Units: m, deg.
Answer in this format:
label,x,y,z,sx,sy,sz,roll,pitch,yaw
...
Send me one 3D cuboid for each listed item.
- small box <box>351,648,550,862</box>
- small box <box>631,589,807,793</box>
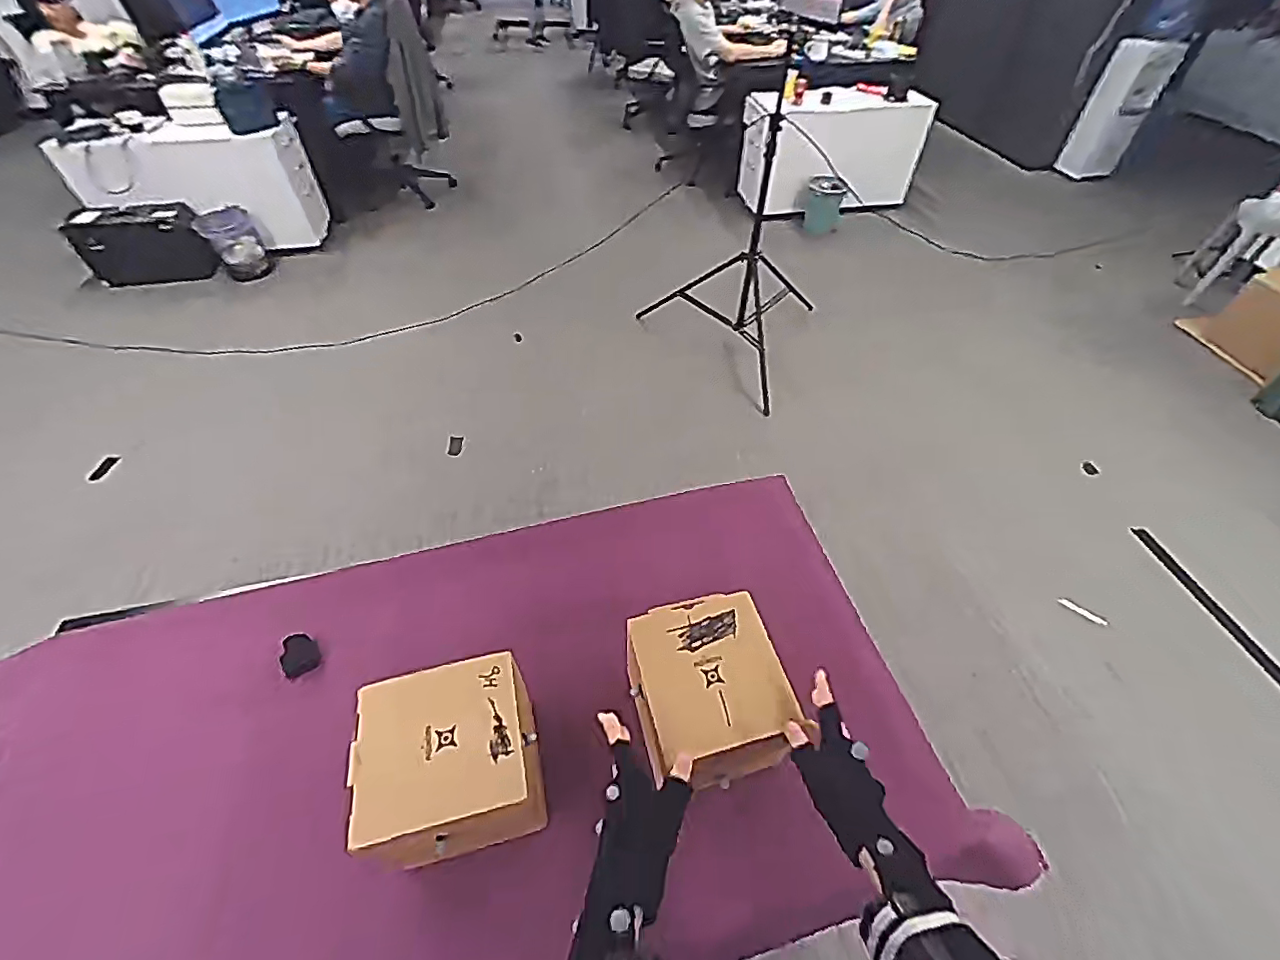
label,x,y,z,sx,sy,sz,roll,pitch,yaw
small box,-0.215,0.330,0.646,0.179,0.176,0.168,-12,50,-10
small box,0.086,0.272,0.698,0.168,0.176,0.179,-12,50,-10
